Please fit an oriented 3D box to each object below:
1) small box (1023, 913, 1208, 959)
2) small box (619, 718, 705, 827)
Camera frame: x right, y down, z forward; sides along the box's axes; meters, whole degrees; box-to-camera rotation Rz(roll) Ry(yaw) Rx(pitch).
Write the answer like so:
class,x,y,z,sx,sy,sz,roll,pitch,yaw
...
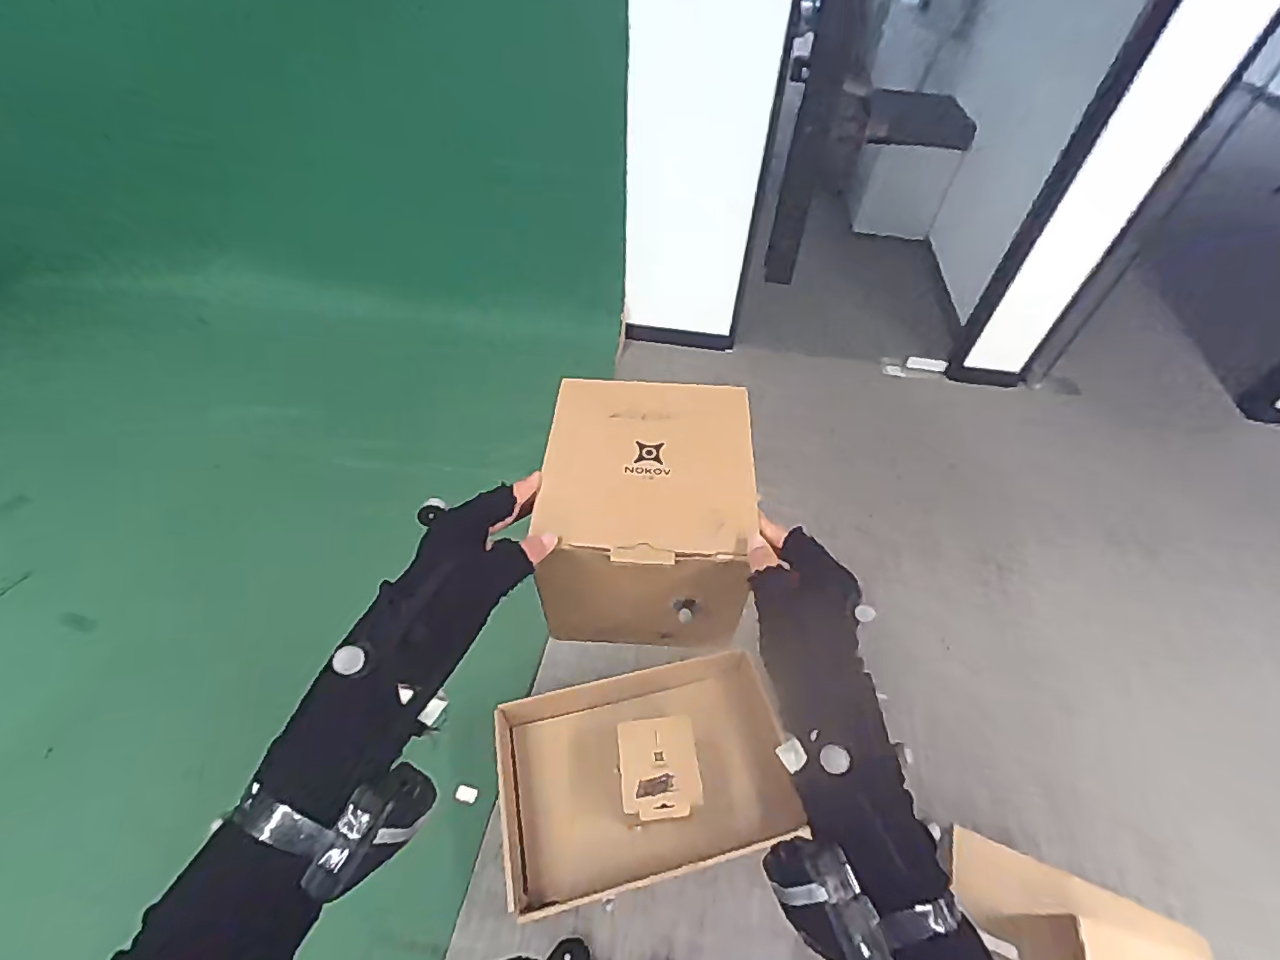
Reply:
class,x,y,z,sx,sy,sz,roll,pitch,yaw
small box,0.687,0.758,0.777,0.179,0.176,0.168,14,51,10
small box,0.043,0.649,1.191,0.168,0.176,0.179,-4,48,-4
